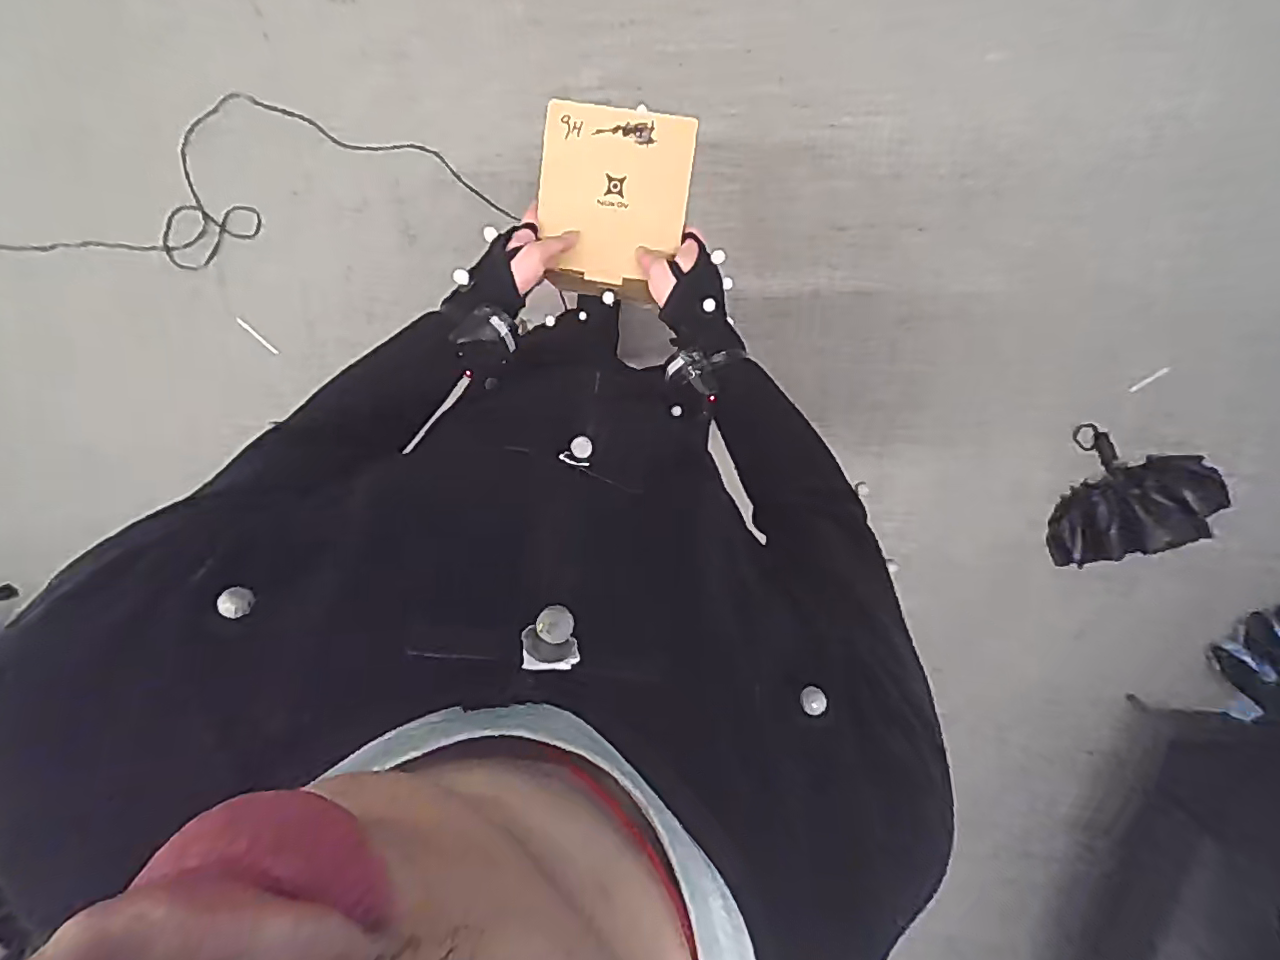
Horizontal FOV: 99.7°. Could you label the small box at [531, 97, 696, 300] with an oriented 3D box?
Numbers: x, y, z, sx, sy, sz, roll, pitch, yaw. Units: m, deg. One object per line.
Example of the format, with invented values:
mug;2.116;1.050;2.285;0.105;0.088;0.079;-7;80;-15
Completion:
small box;-0.028;-0.325;0.662;0.168;0.176;0.179;7;102;1
